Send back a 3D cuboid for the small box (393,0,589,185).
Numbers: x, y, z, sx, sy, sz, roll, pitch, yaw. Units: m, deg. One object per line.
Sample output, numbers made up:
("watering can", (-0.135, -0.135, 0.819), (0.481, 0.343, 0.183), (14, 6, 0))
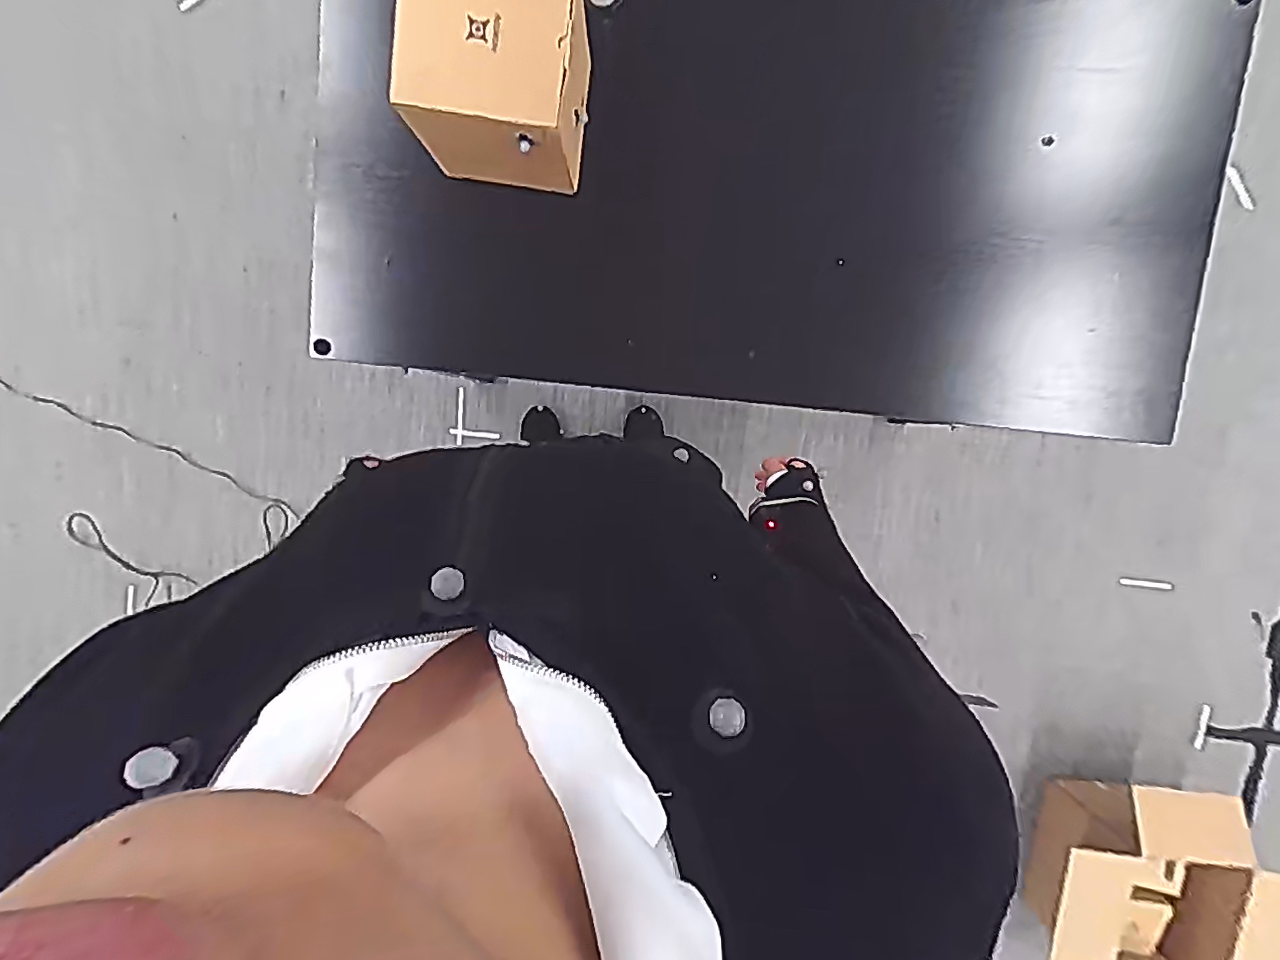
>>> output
("small box", (-0.160, -0.470, 0.629), (0.179, 0.176, 0.168), (7, 97, -3))
